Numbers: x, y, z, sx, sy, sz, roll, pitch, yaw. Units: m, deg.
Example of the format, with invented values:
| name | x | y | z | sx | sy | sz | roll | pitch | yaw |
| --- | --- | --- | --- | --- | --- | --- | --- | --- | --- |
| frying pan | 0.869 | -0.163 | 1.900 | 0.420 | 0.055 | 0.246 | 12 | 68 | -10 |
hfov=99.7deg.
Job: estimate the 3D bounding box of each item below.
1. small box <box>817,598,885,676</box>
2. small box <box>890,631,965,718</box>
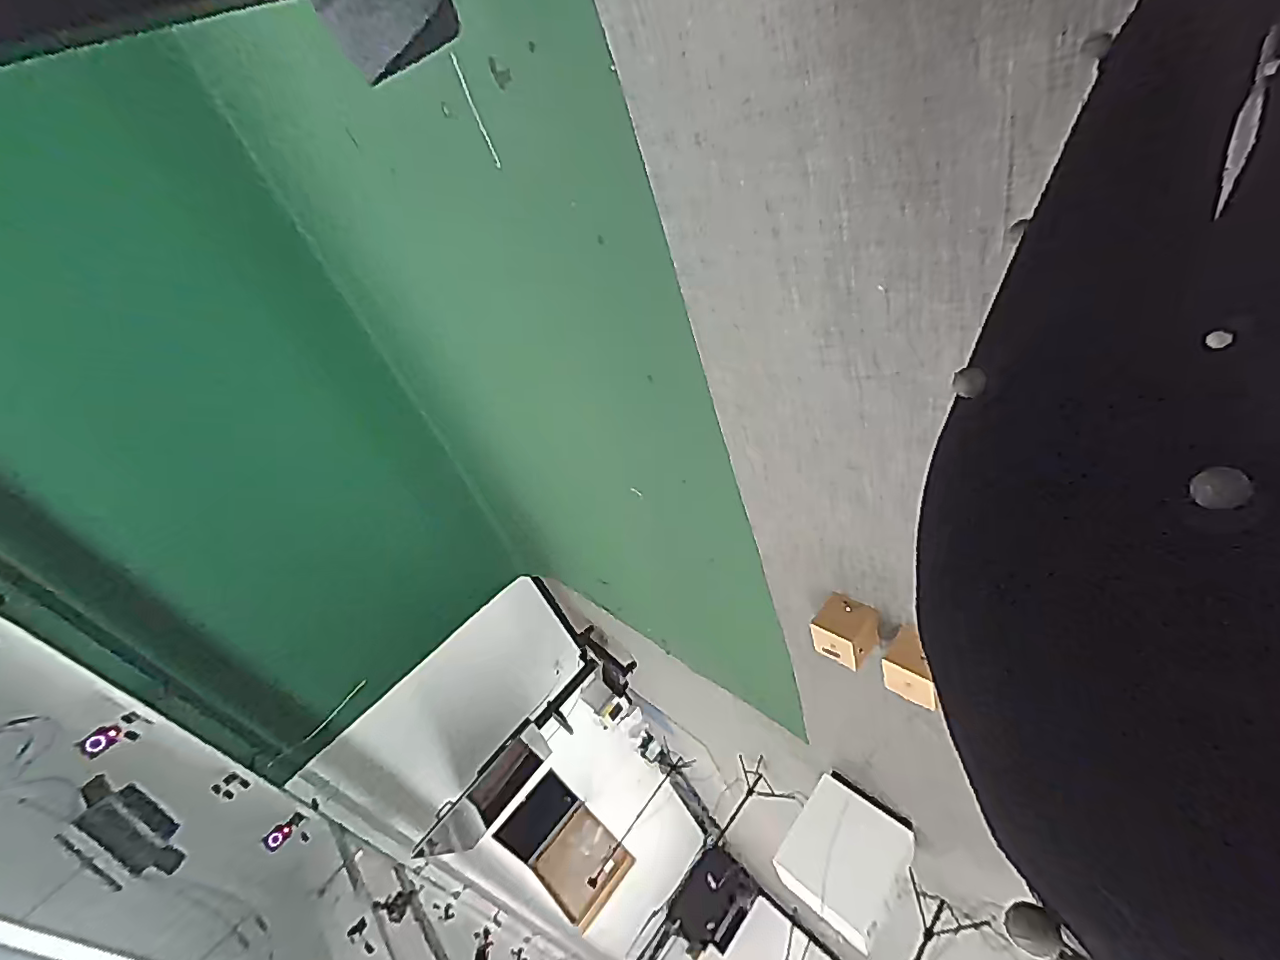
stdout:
| name | x | y | z | sx | sy | sz | roll | pitch | yaw |
| --- | --- | --- | --- | --- | --- | --- | --- | --- | --- |
| small box | 0.768 | 0.563 | 1.957 | 0.168 | 0.176 | 0.179 | 19 | 141 | 45 |
| small box | 0.946 | 0.630 | 1.775 | 0.168 | 0.176 | 0.179 | 19 | 142 | 46 |
